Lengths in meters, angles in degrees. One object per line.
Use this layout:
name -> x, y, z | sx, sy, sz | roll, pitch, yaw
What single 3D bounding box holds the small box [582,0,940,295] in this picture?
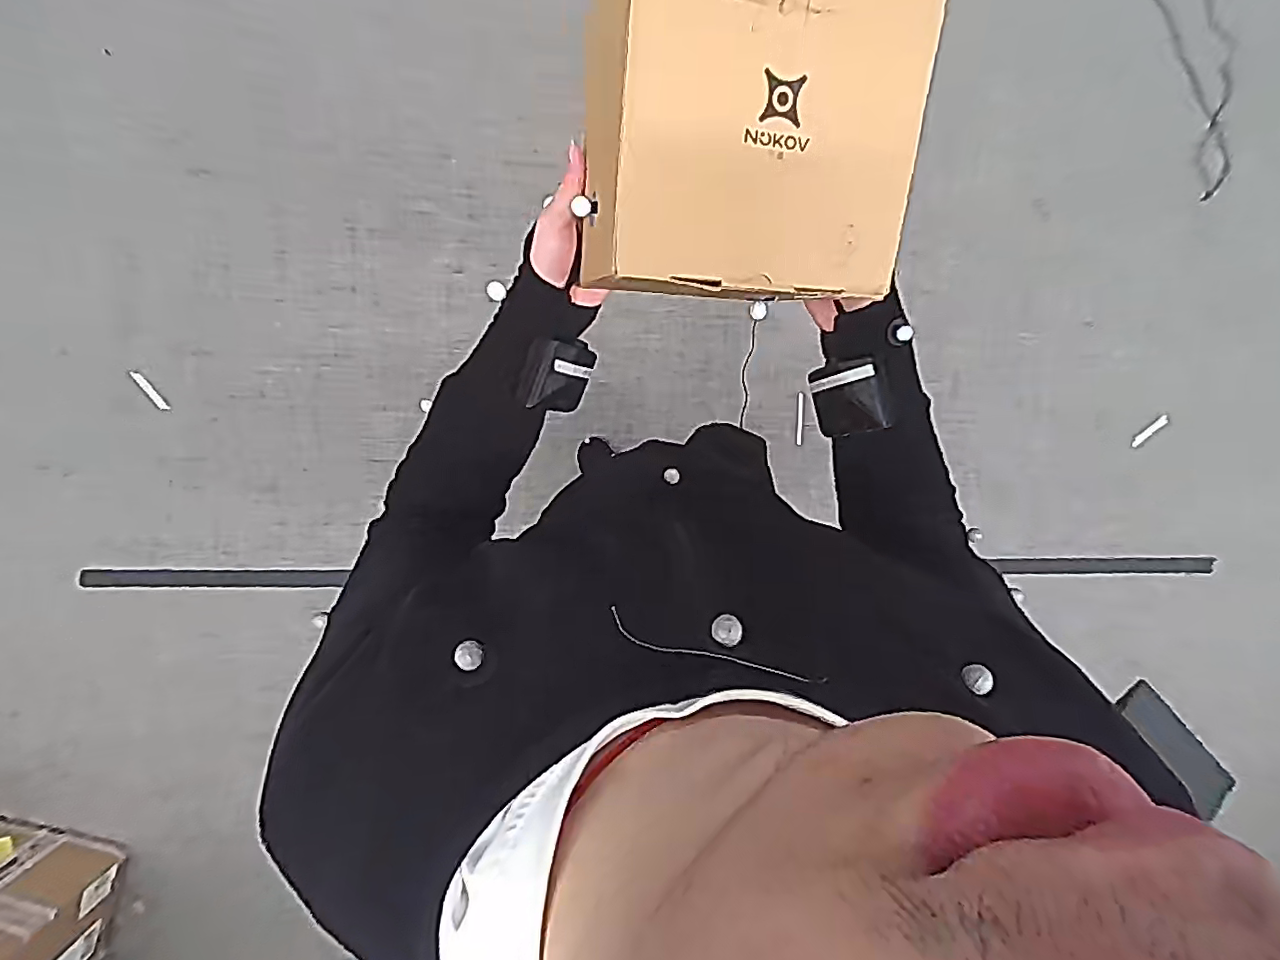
small box -> 0.055, -0.220, 0.358 | 0.168, 0.176, 0.179 | 0, 107, -14
